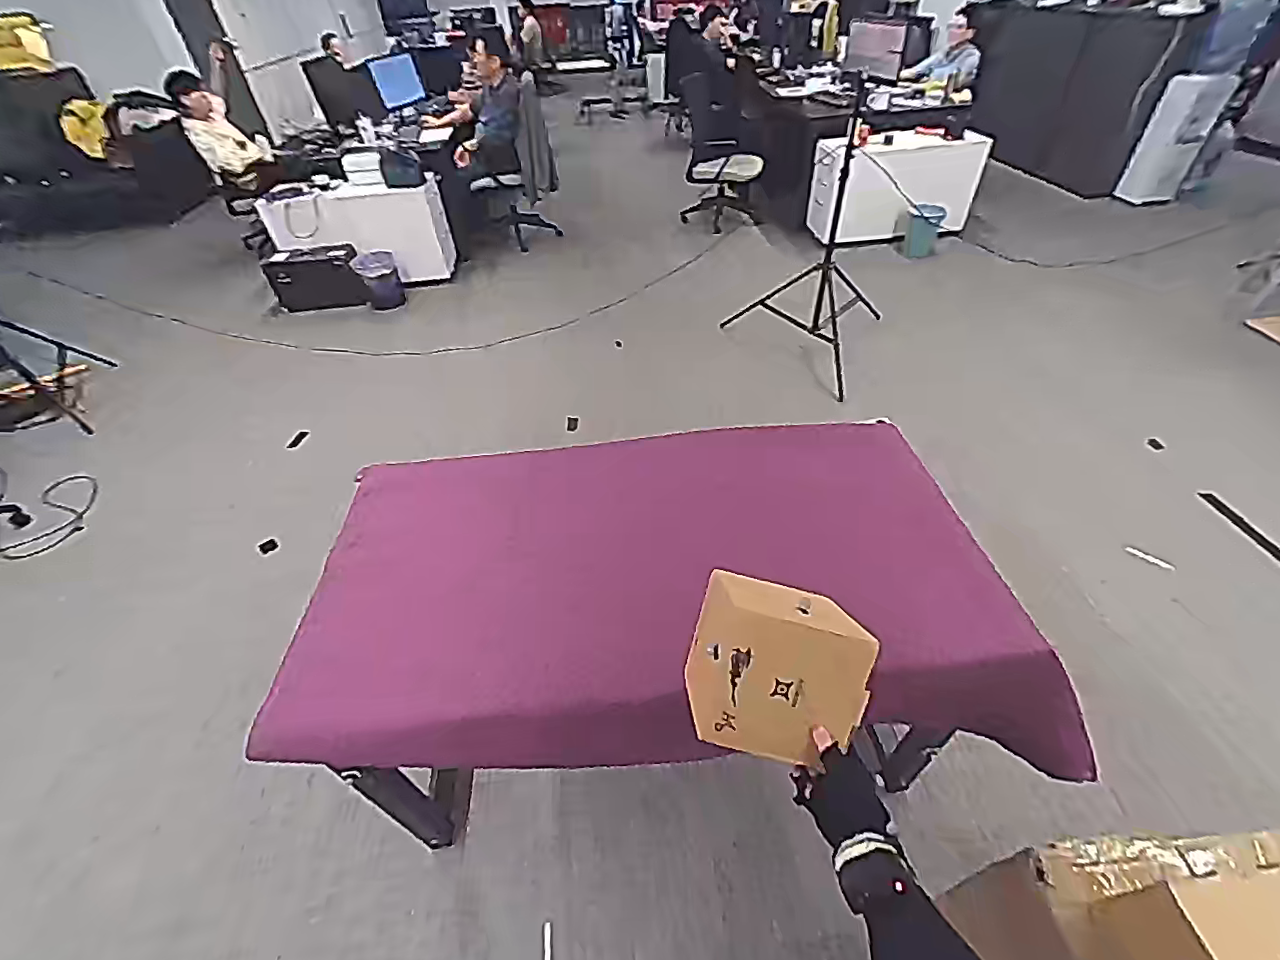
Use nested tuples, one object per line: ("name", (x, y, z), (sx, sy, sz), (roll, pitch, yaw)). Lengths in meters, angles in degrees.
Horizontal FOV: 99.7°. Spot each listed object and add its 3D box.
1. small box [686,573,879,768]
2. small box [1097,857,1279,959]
("small box", (0.169, 0.232, 0.700), (0.179, 0.168, 0.176), (14, 5, -3))
("small box", (0.658, 0.534, 0.580), (0.168, 0.176, 0.179), (-7, 45, 0))
